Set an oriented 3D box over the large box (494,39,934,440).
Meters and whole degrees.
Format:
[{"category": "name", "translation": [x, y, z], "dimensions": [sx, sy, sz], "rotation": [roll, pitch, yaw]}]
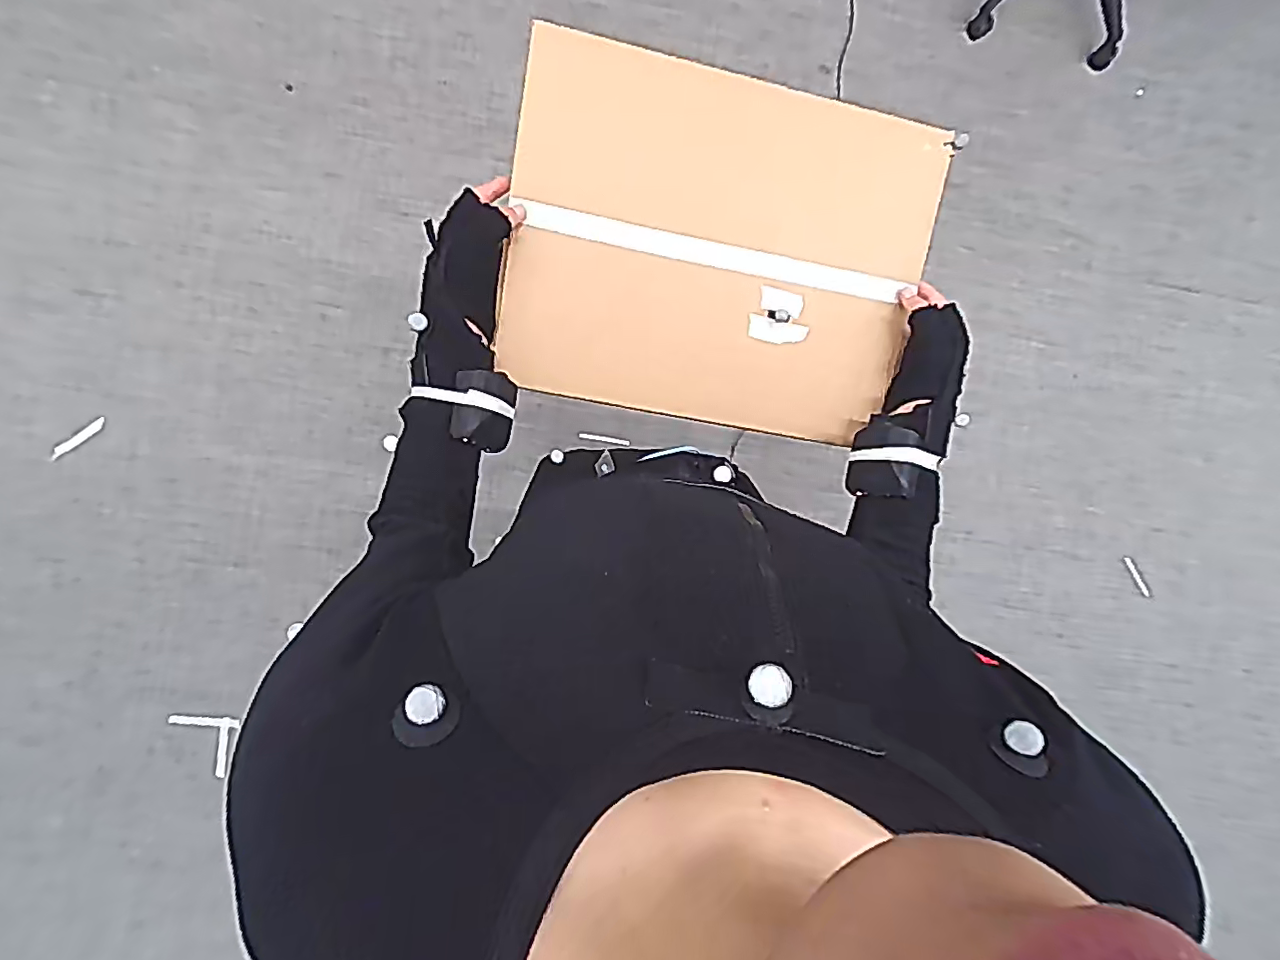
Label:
[{"category": "large box", "translation": [0.056, -0.246, 0.678], "dimensions": [0.408, 0.320, 0.320], "rotation": [10, 100, -8]}]
